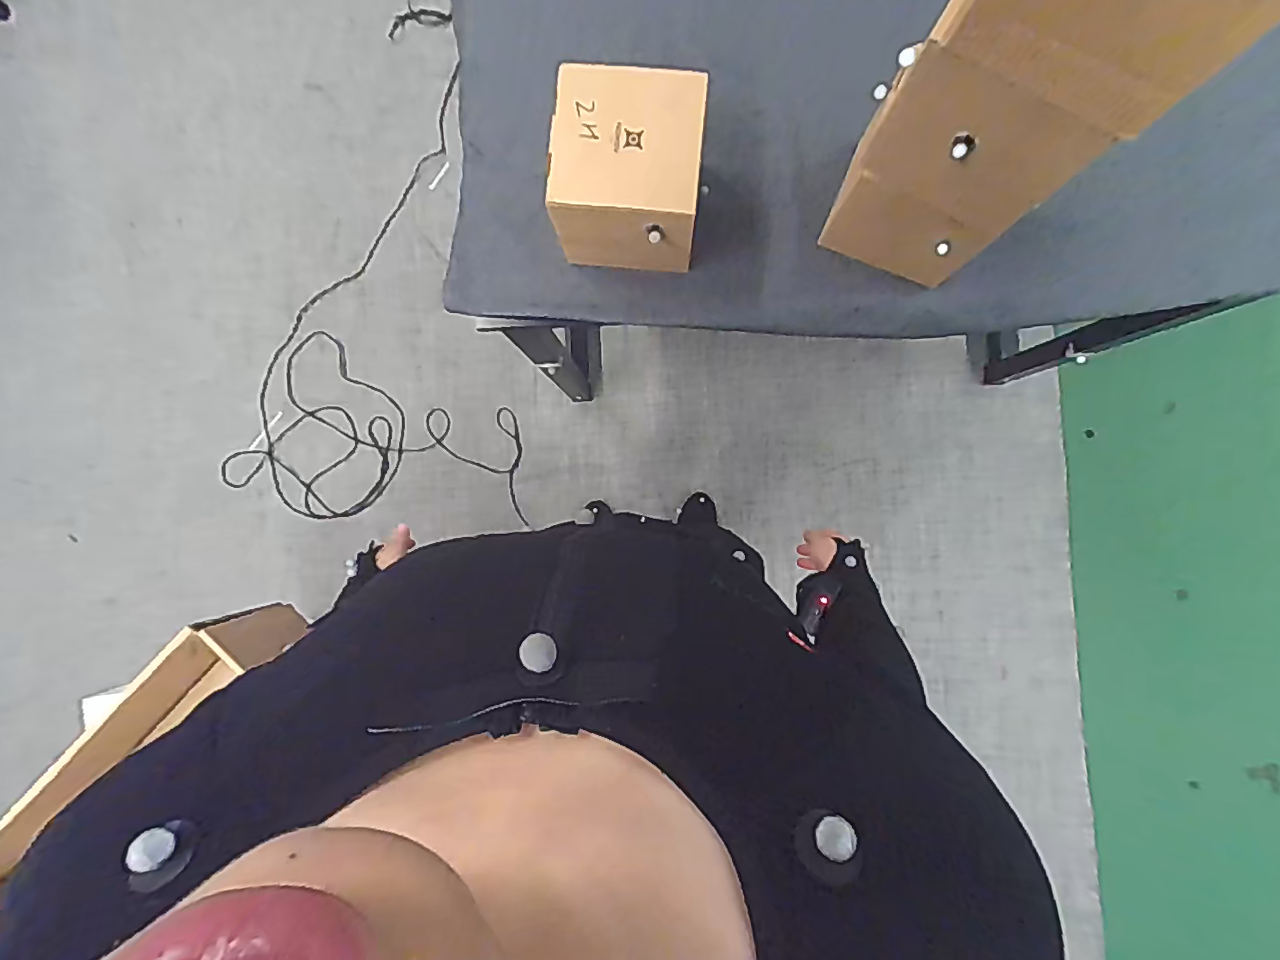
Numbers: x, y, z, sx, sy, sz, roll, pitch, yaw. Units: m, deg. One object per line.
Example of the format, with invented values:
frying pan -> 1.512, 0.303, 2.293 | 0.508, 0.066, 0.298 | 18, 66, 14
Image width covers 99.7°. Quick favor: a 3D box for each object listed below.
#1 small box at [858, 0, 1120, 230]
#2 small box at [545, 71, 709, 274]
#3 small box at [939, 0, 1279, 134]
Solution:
small box -> 0.349, -0.375, 0.520 | 0.179, 0.176, 0.168 | 31, 89, 4
small box -> -0.012, -0.382, 0.701 | 0.179, 0.176, 0.168 | 6, 89, 3
small box -> 0.344, -0.380, 0.357 | 0.179, 0.176, 0.168 | 30, 89, 3
